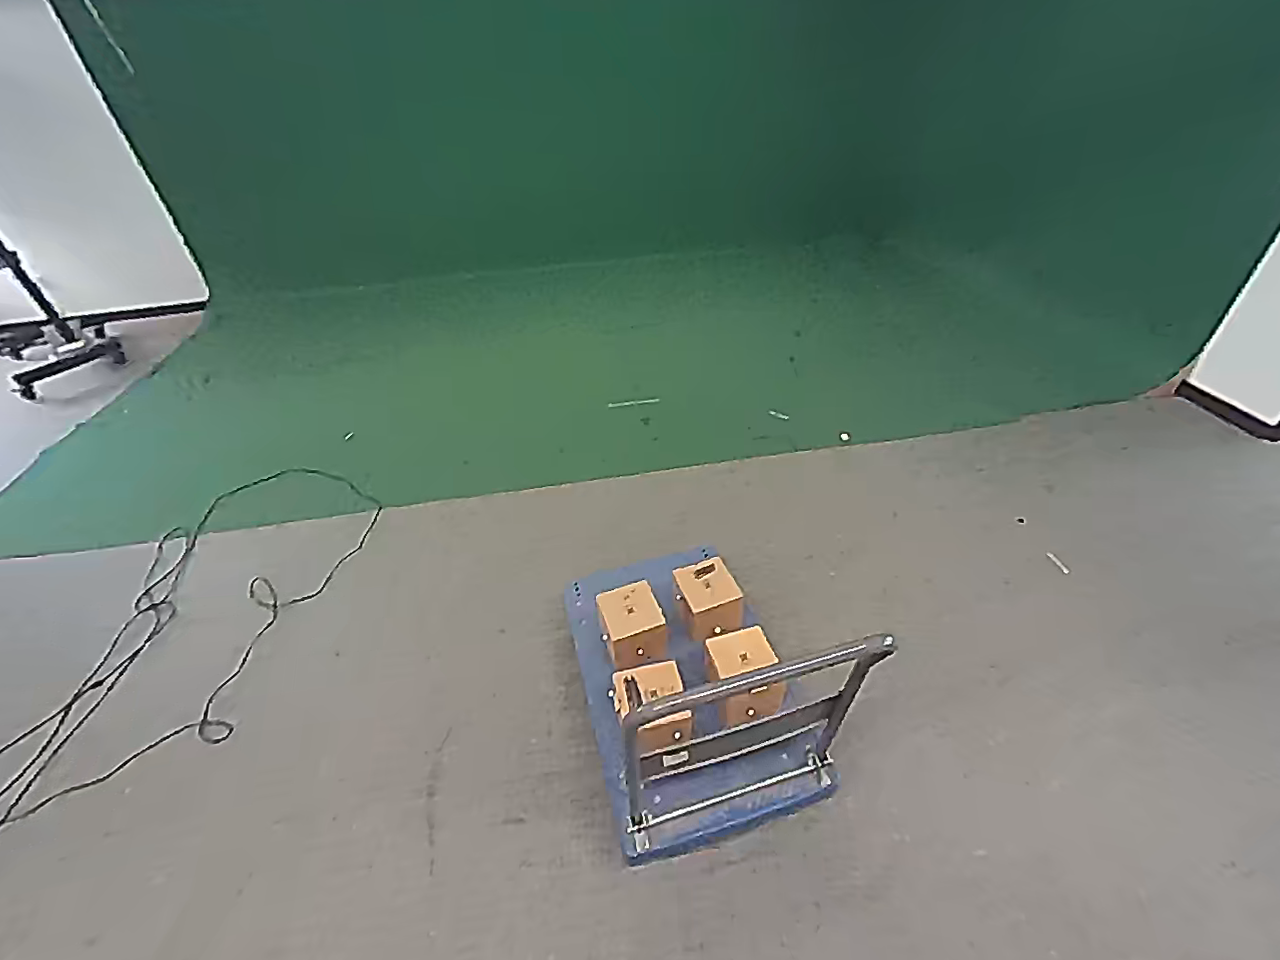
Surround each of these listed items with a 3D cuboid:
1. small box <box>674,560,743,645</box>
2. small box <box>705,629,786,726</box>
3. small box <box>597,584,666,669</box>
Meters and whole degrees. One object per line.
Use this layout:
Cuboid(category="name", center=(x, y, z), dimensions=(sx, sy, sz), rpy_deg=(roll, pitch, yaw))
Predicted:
Cuboid(category="small box", center=(0.213, 0.391, 1.724), dimensions=(0.168, 0.176, 0.179), rpy_deg=(-16, 42, -12))
Cuboid(category="small box", center=(0.288, 0.555, 1.522), dimensions=(0.168, 0.176, 0.179), rpy_deg=(-12, 41, -10))
Cuboid(category="small box", center=(-0.023, 0.457, 1.666), dimensions=(0.168, 0.176, 0.179), rpy_deg=(-15, 41, -14))
